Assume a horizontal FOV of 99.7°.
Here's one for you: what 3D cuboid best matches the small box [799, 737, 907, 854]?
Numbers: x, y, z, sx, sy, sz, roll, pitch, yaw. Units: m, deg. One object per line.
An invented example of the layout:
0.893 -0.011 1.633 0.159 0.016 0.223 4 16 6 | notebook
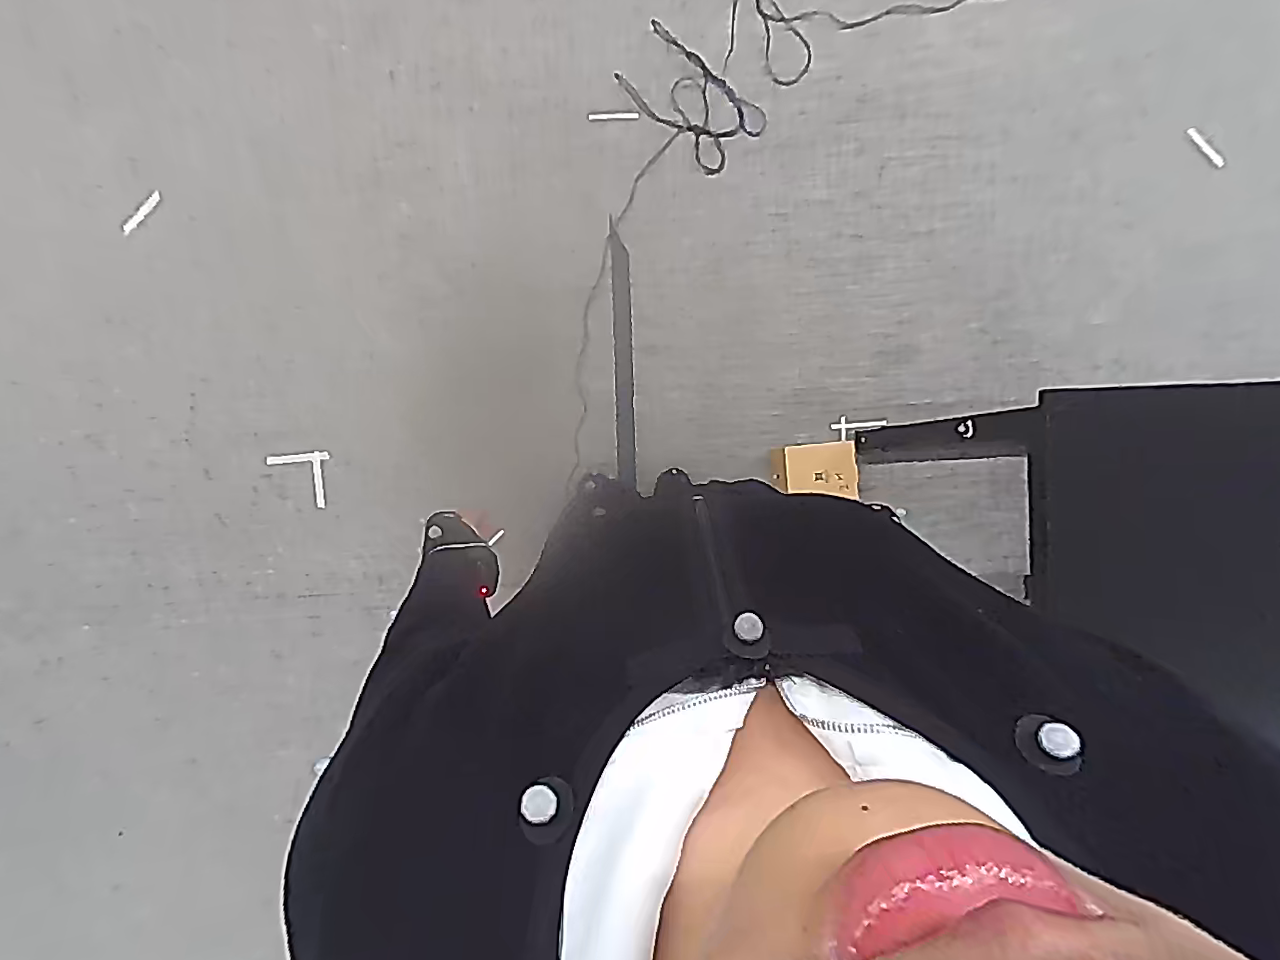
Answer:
0.560 0.829 1.441 0.179 0.176 0.168 41 91 -1 | small box
